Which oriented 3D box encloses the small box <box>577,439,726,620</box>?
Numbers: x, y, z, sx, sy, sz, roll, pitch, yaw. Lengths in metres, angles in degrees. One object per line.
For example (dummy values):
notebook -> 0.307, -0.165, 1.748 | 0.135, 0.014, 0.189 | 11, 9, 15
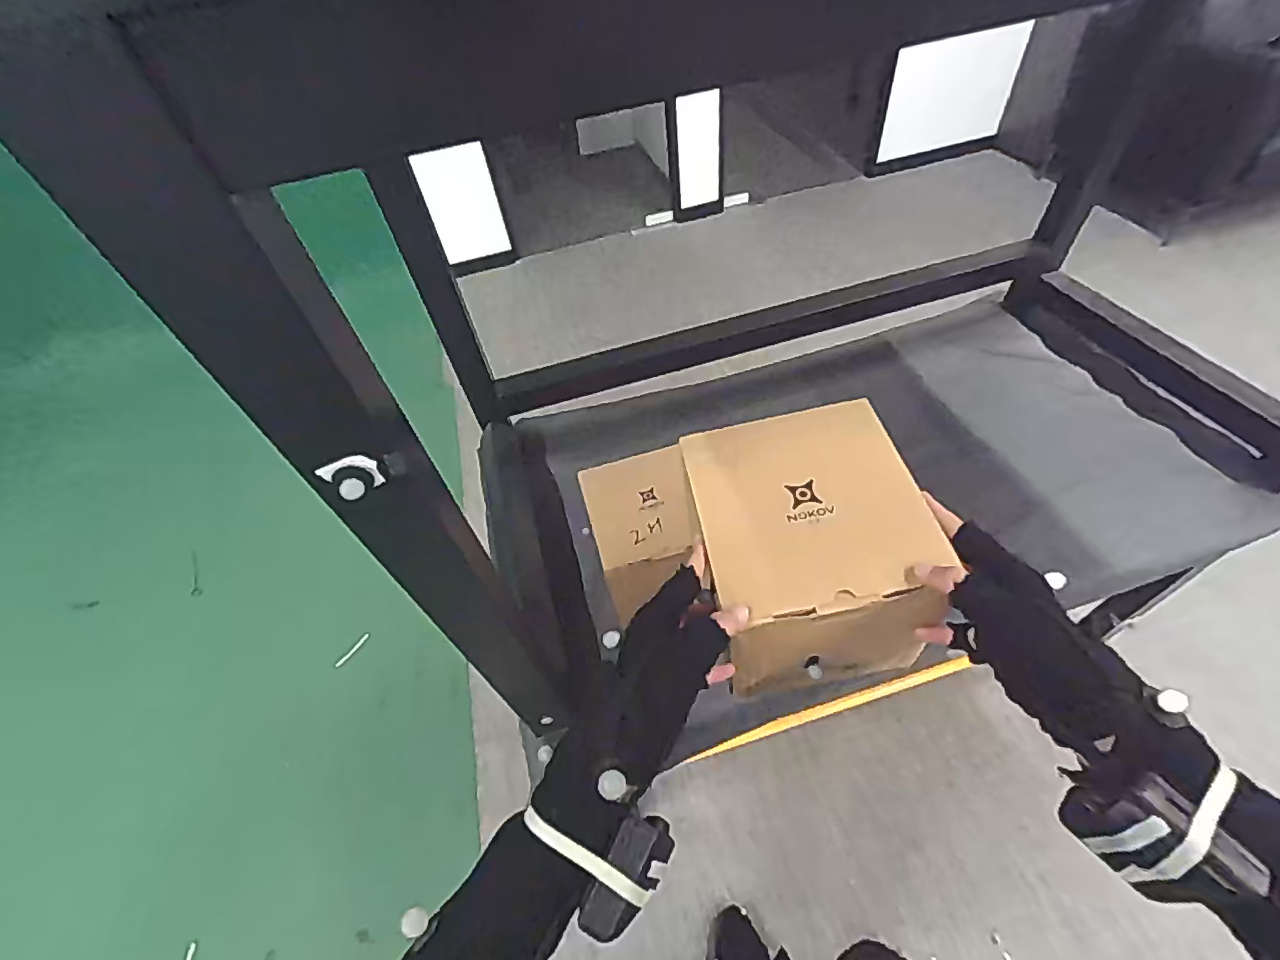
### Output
small box -> 0.016, 0.073, 0.784 | 0.168, 0.176, 0.179 | -16, 50, -5
